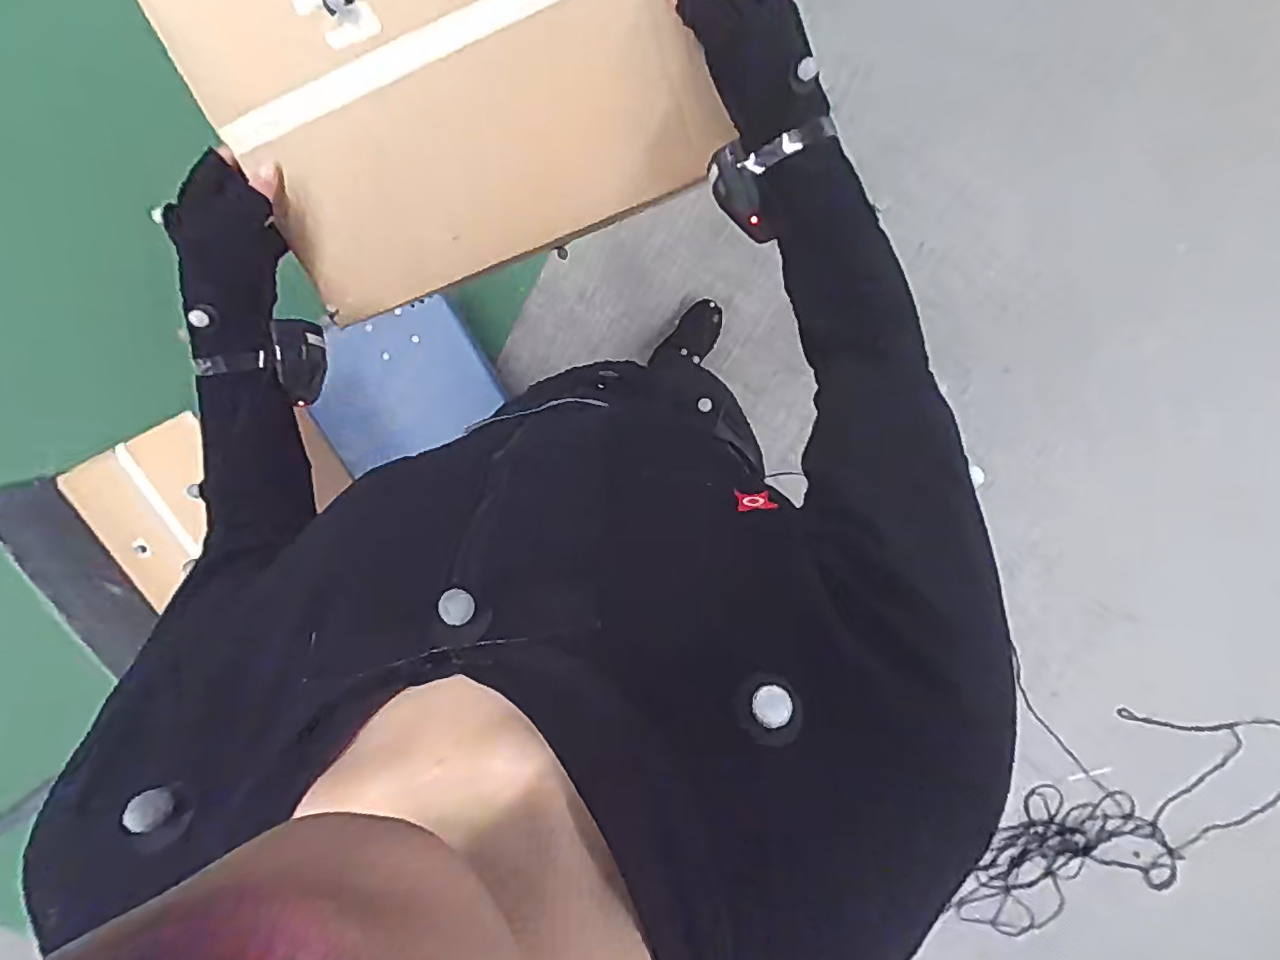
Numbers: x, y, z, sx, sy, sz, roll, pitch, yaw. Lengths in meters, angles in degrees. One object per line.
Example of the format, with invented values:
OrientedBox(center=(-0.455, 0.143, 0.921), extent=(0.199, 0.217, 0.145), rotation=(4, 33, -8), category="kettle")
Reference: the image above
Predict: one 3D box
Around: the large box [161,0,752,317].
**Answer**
OrientedBox(center=(-0.143, -0.408, 0.550), extent=(0.408, 0.320, 0.320), rotation=(-18, 114, 7), category="large box")
